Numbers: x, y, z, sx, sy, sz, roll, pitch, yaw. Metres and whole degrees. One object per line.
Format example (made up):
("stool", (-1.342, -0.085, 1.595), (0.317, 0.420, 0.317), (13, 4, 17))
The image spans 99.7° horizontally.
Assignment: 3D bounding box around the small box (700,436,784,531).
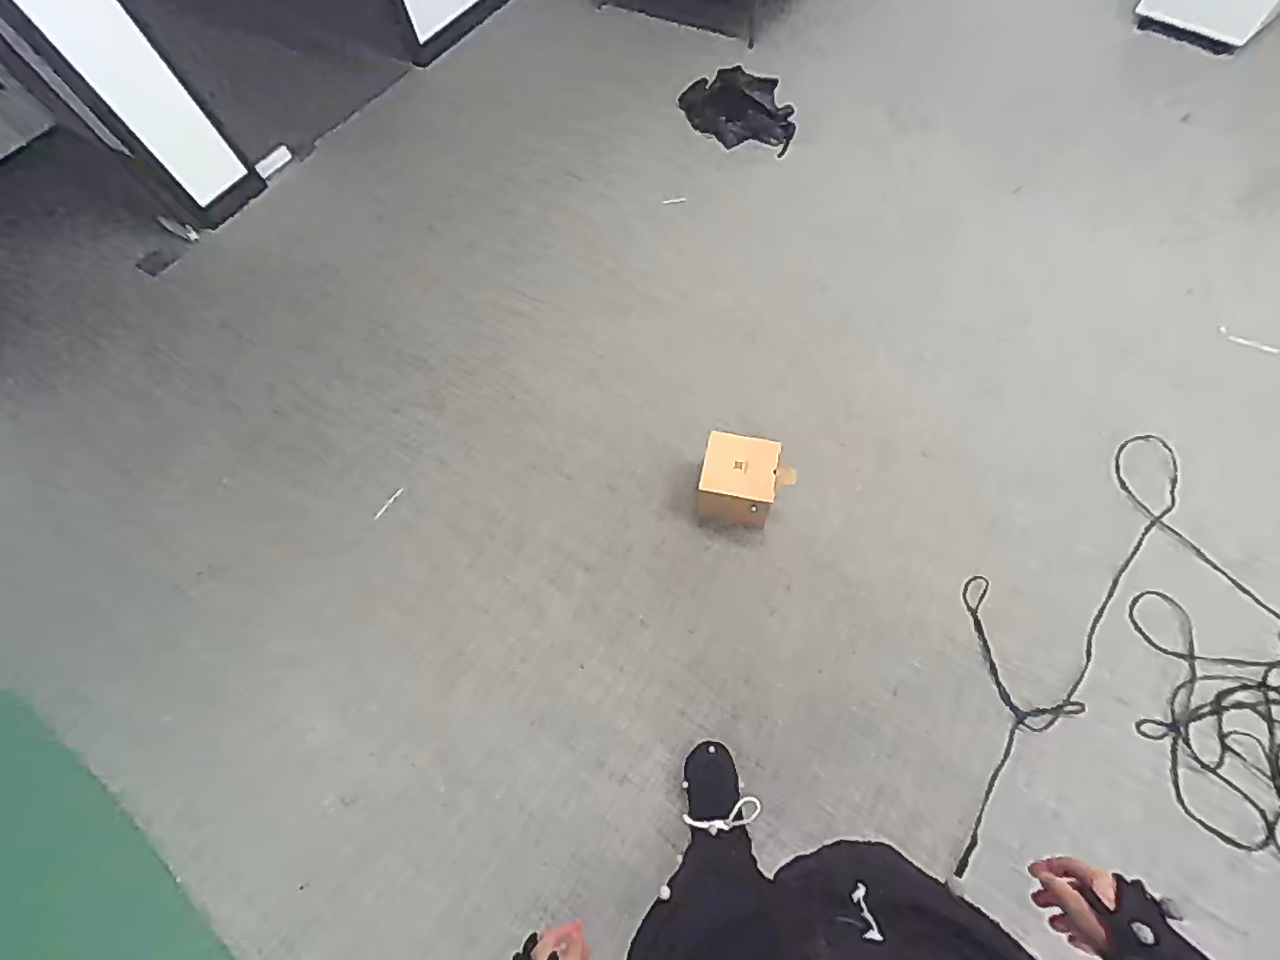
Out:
("small box", (0.249, 0.014, 1.350), (0.179, 0.176, 0.168), (11, 65, 9))
